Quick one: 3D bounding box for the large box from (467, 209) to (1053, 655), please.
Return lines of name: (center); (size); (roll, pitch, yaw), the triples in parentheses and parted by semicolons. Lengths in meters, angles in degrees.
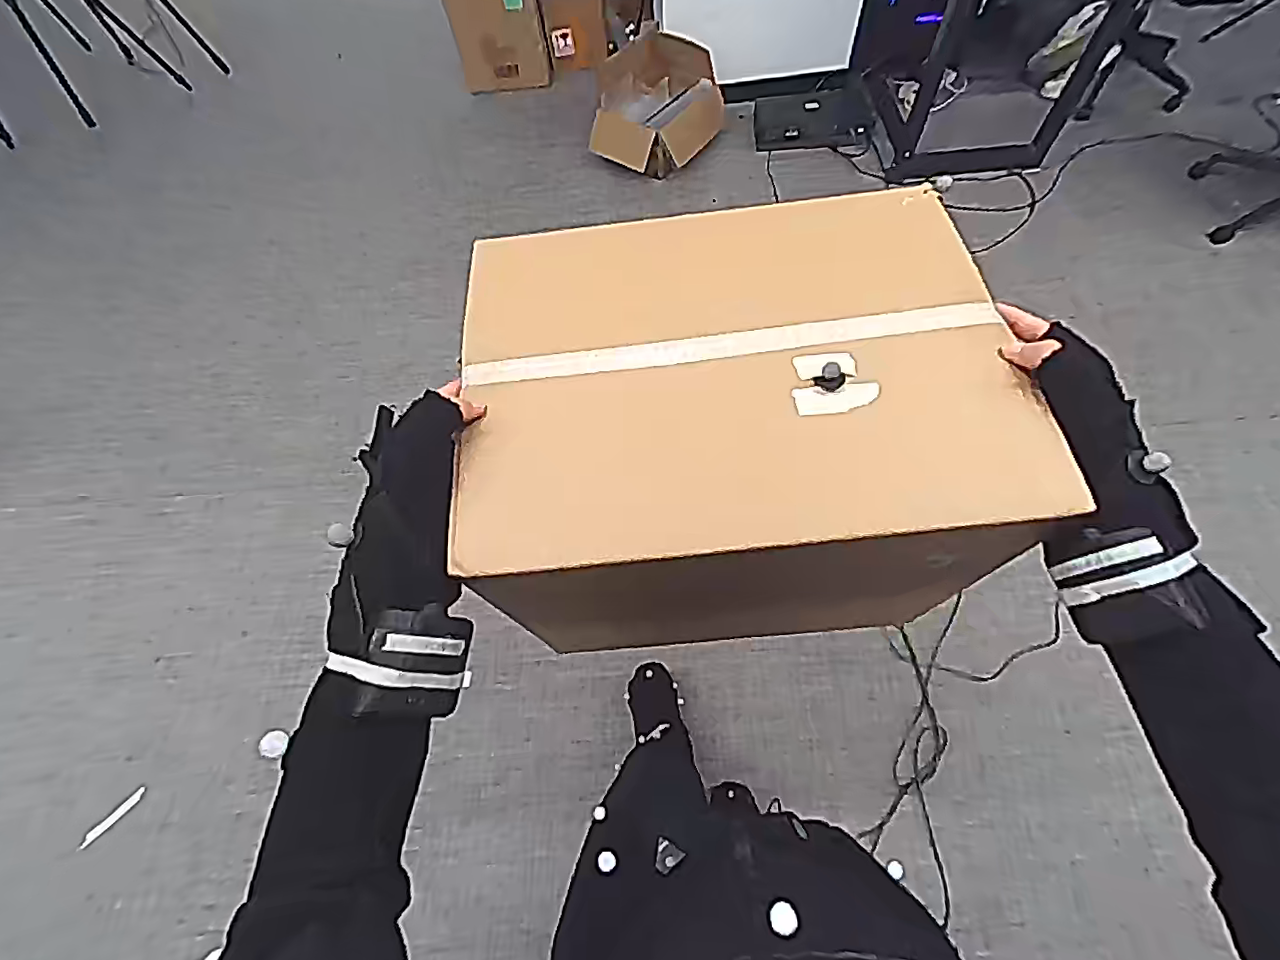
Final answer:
large box: (0.074, -0.022, 0.560); (0.408, 0.320, 0.320); (-6, 63, 2)
